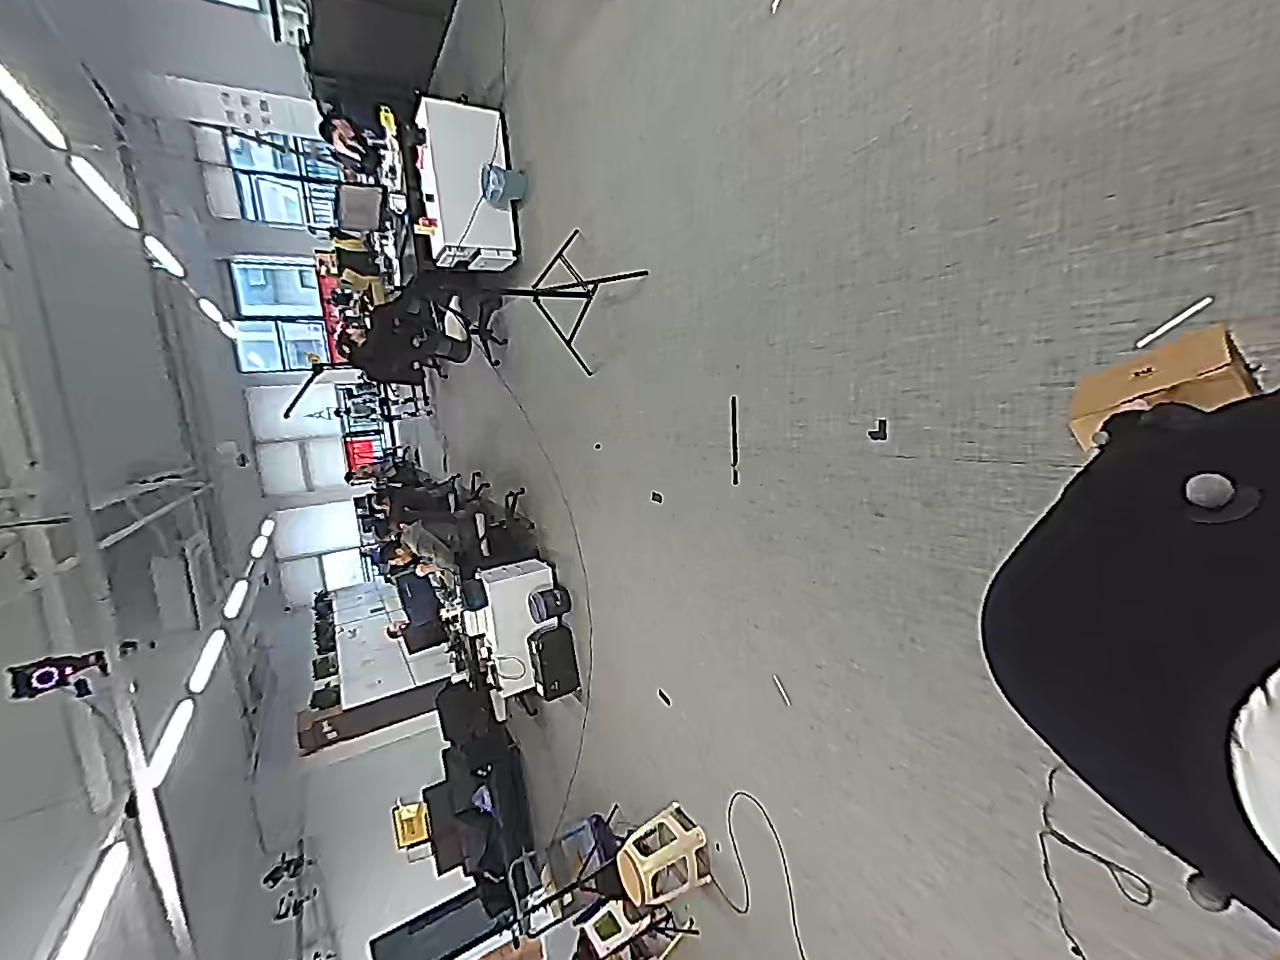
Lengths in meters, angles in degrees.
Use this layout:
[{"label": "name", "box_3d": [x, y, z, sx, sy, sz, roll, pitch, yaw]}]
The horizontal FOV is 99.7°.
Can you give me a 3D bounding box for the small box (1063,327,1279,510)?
[{"label": "small box", "box_3d": [0.724, -0.074, 0.738, 0.168, 0.179, 0.176, -30, 94, 51]}]
